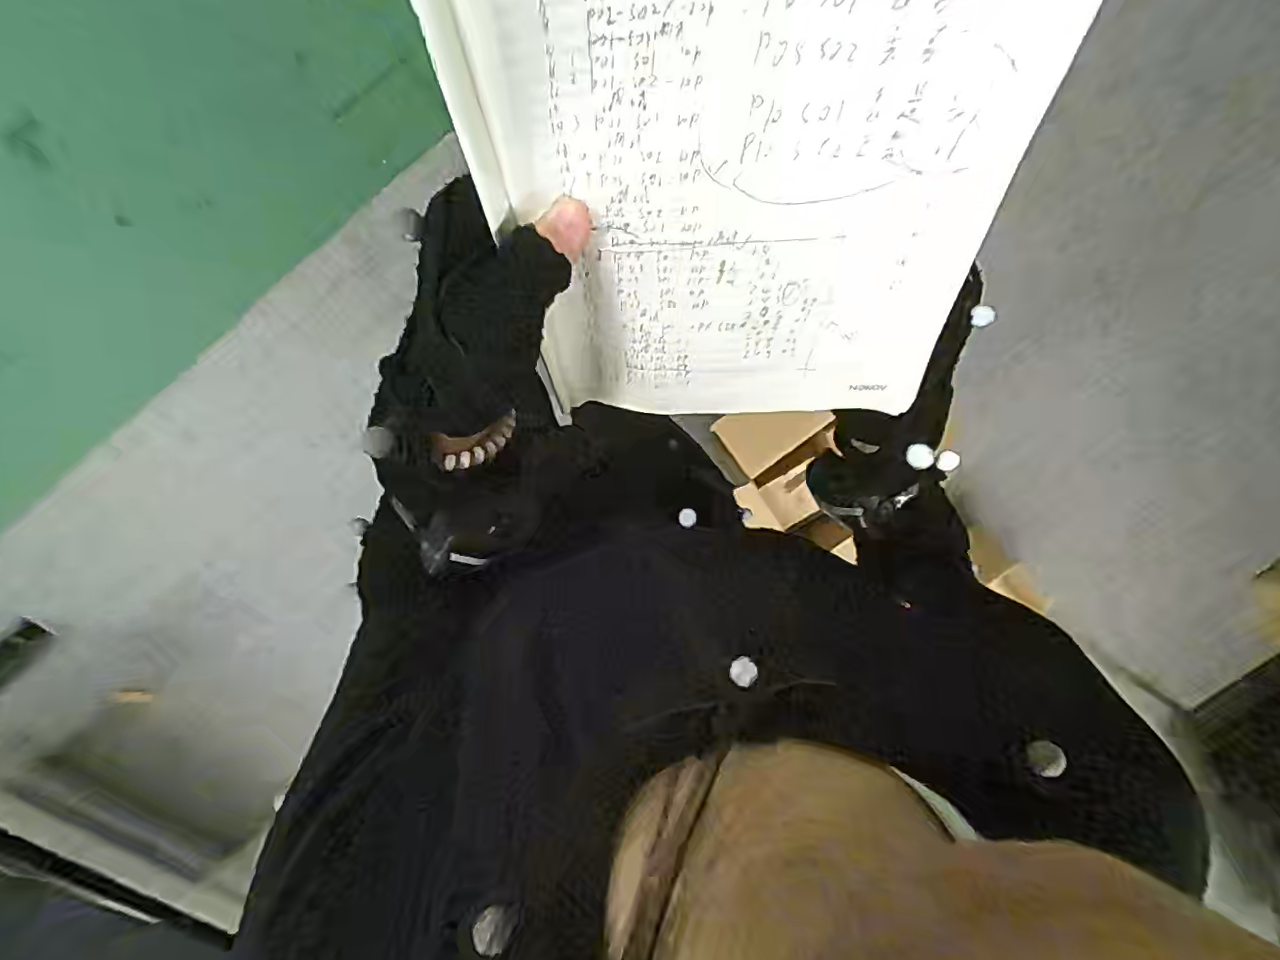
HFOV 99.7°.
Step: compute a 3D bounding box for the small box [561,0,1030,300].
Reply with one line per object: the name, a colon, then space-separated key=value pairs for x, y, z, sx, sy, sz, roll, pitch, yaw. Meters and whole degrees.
small box: x=0.046 y=-0.210 z=0.256 sx=0.168 sy=0.176 sz=0.179 roll=0 pitch=139 yaw=-6
